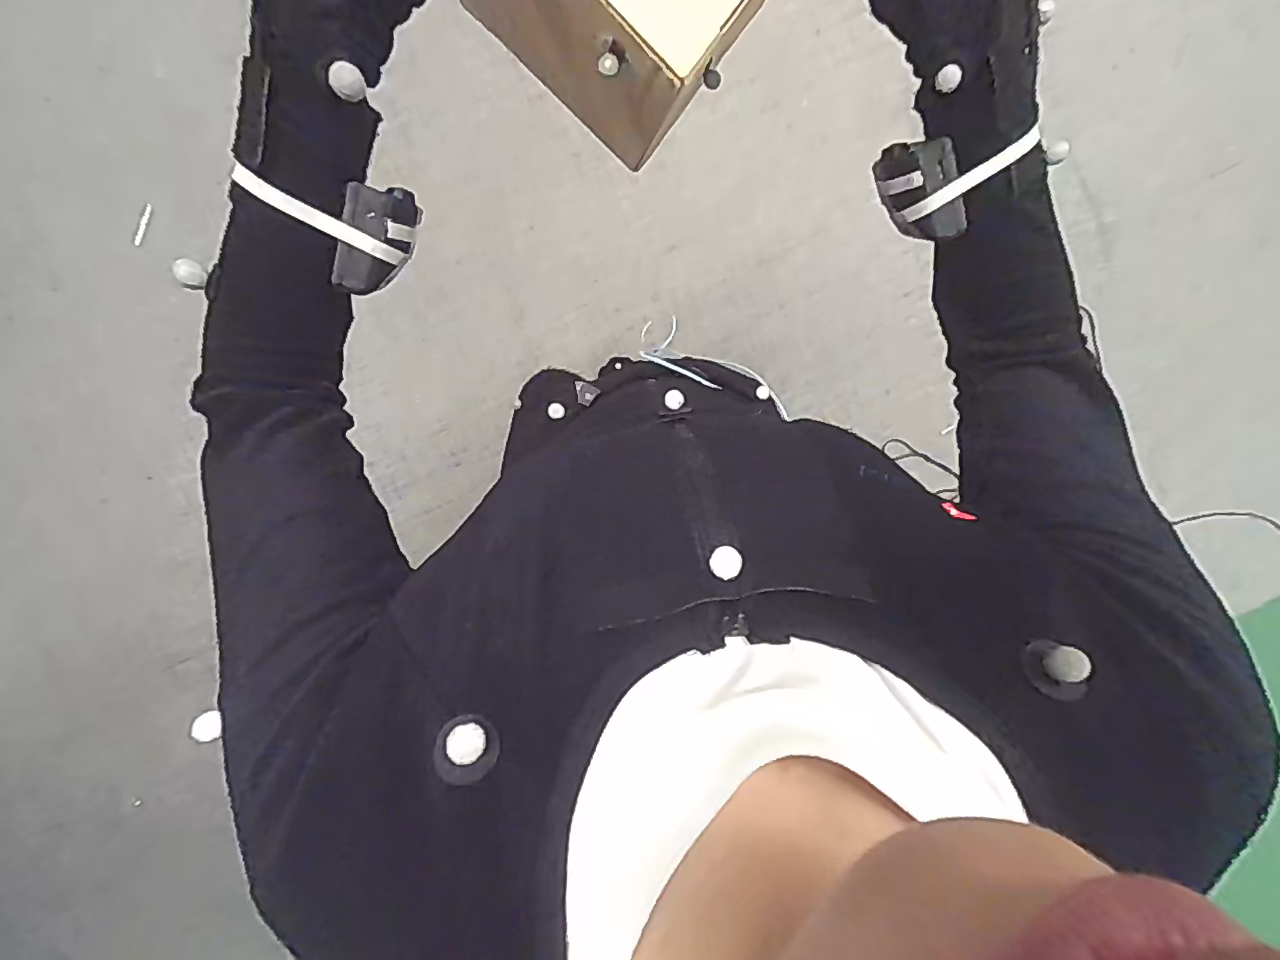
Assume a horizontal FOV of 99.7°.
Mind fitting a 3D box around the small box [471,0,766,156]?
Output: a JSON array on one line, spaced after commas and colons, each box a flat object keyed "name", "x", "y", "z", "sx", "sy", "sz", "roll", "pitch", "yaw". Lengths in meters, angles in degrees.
[{"name": "small box", "x": -0.005, "y": -0.351, "z": 0.343, "sx": 0.179, "sy": 0.176, "sz": 0.168, "roll": 37, "pitch": 96, "yaw": -17}]
